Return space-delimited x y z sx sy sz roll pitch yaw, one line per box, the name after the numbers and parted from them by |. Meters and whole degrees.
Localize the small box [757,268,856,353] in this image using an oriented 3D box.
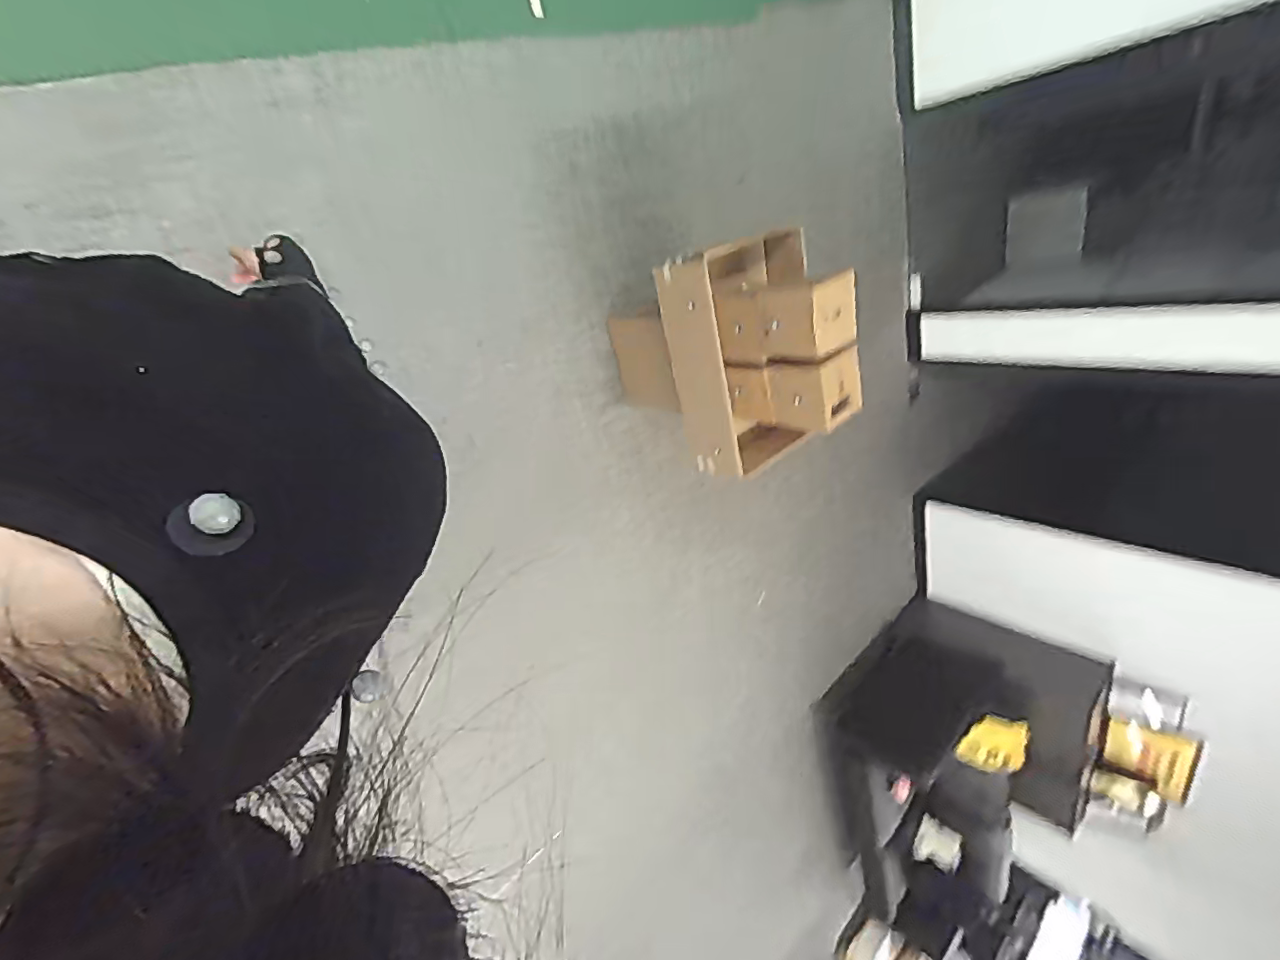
0.420 -0.428 1.361 0.179 0.176 0.168 -30 120 -30 | small box
